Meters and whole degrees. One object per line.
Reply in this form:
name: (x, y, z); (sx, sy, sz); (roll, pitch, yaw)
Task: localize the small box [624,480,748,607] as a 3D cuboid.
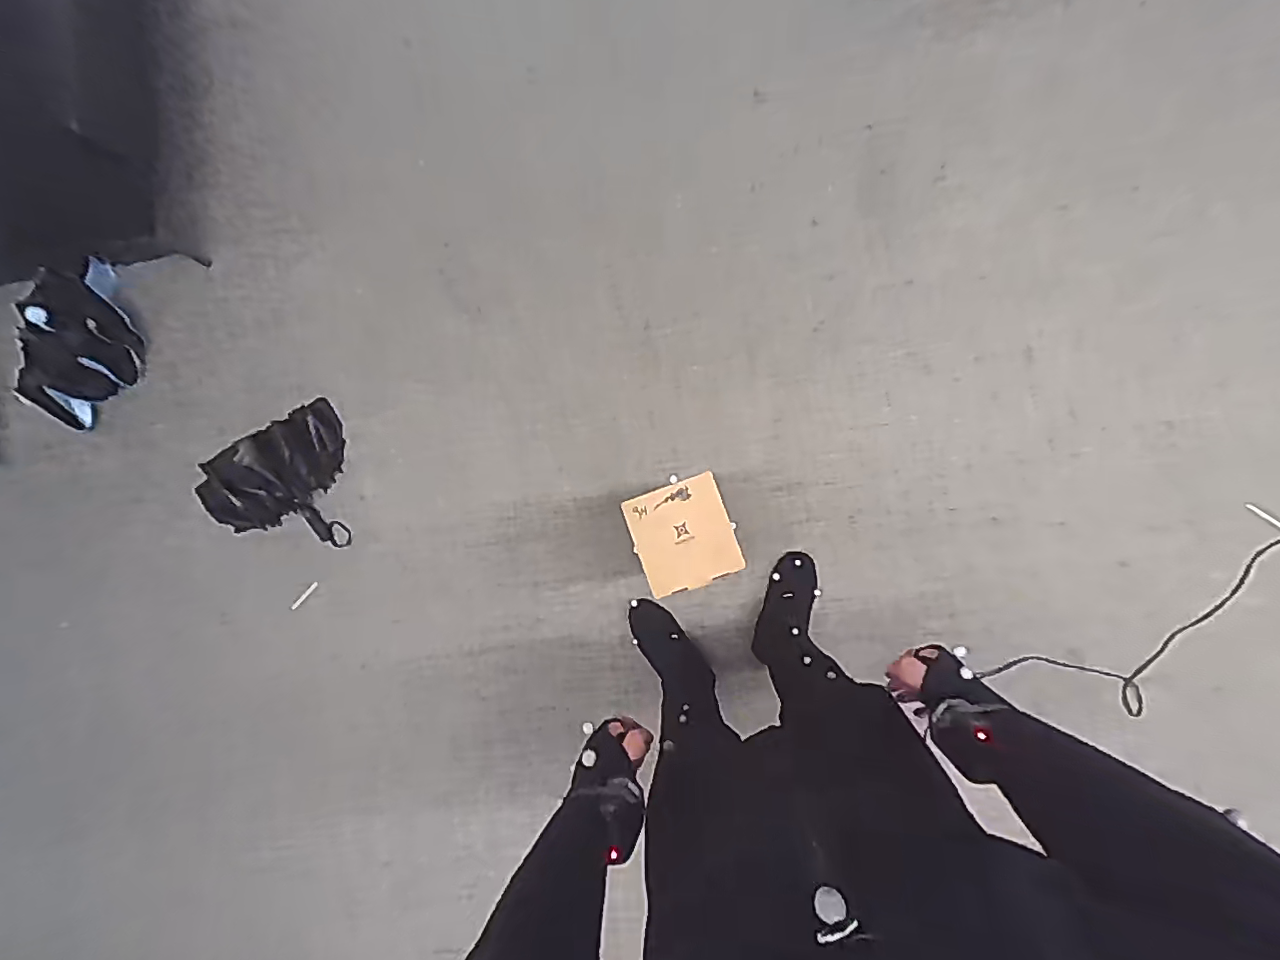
small box: (0.085, 0.108, 0.980); (0.168, 0.176, 0.179); (-20, 85, 4)
